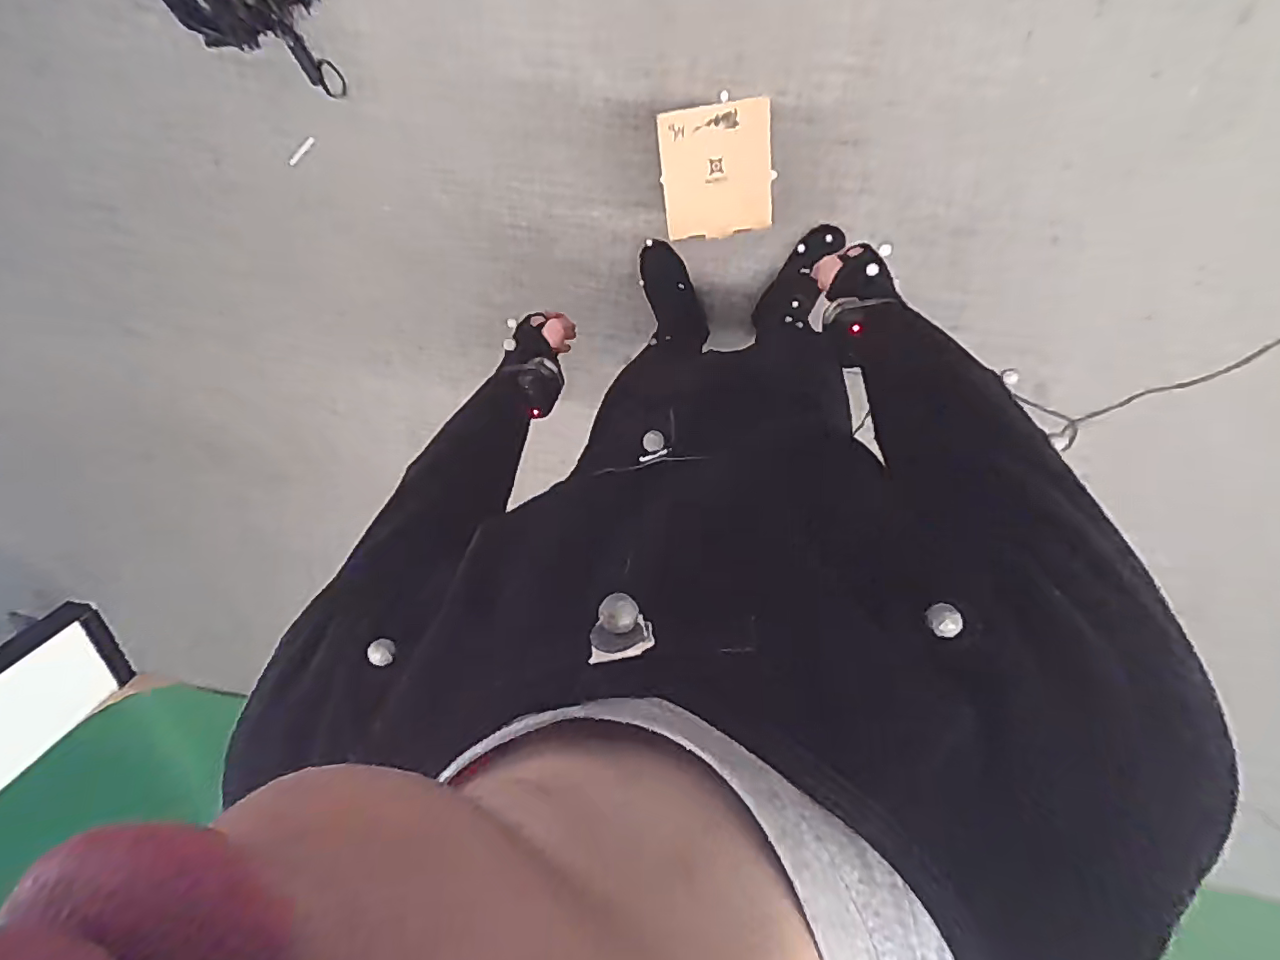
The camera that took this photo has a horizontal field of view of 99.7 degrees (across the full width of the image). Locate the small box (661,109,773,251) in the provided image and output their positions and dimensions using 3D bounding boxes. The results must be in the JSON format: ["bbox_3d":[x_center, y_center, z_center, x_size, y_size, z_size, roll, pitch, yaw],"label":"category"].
[{"bbox_3d":[0.133,-0.493,0.890,0.168,0.176,0.179,-2,121,12],"label":"small box"}]
